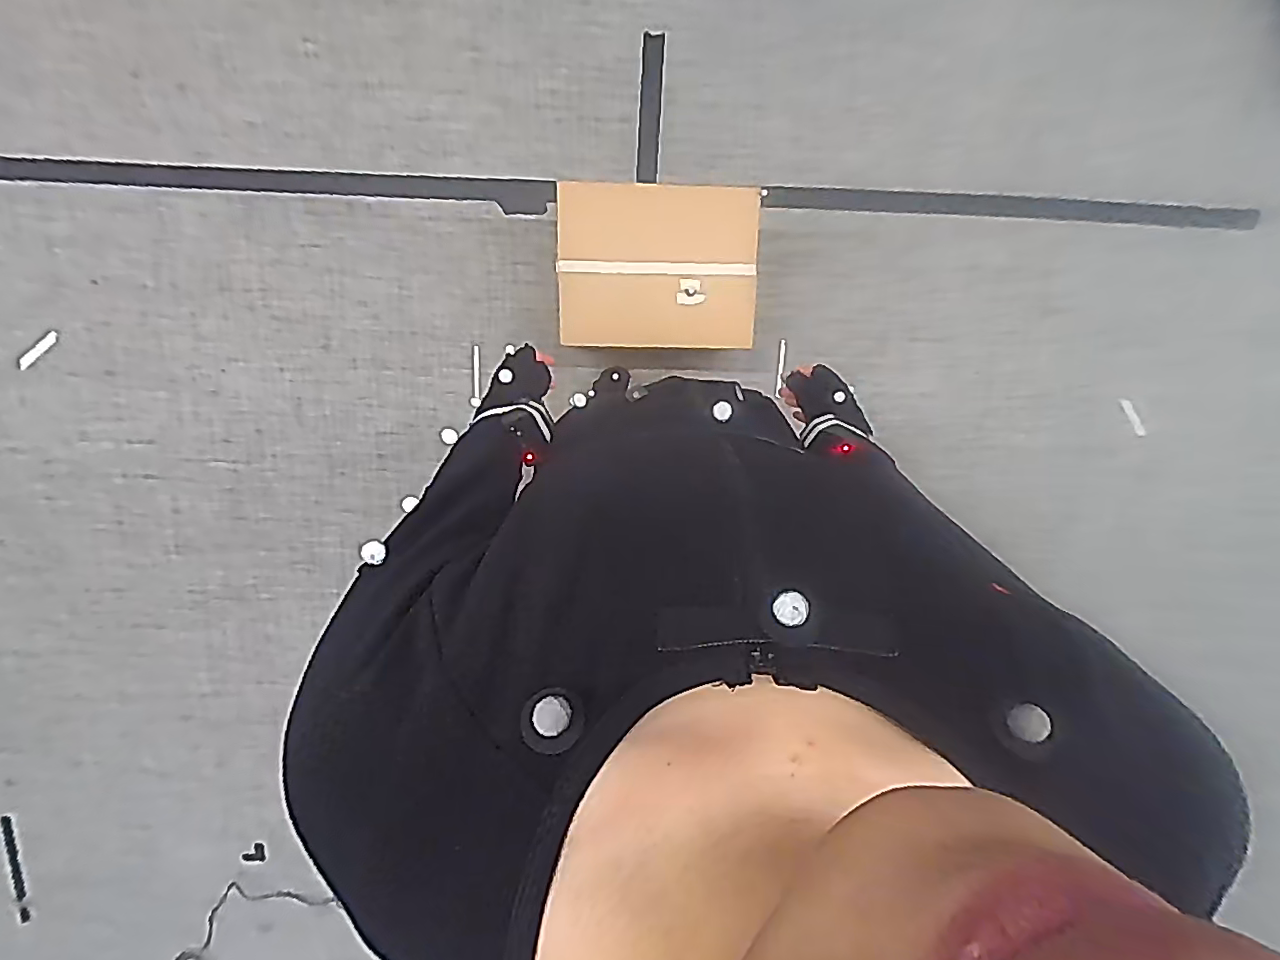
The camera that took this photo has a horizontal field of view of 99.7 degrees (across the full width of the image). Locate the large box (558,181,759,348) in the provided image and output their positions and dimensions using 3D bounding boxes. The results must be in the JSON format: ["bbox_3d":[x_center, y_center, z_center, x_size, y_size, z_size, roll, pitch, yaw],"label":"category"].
[{"bbox_3d":[0.029,-0.466,1.237,0.408,0.320,0.320,0,103,-4],"label":"large box"}]
